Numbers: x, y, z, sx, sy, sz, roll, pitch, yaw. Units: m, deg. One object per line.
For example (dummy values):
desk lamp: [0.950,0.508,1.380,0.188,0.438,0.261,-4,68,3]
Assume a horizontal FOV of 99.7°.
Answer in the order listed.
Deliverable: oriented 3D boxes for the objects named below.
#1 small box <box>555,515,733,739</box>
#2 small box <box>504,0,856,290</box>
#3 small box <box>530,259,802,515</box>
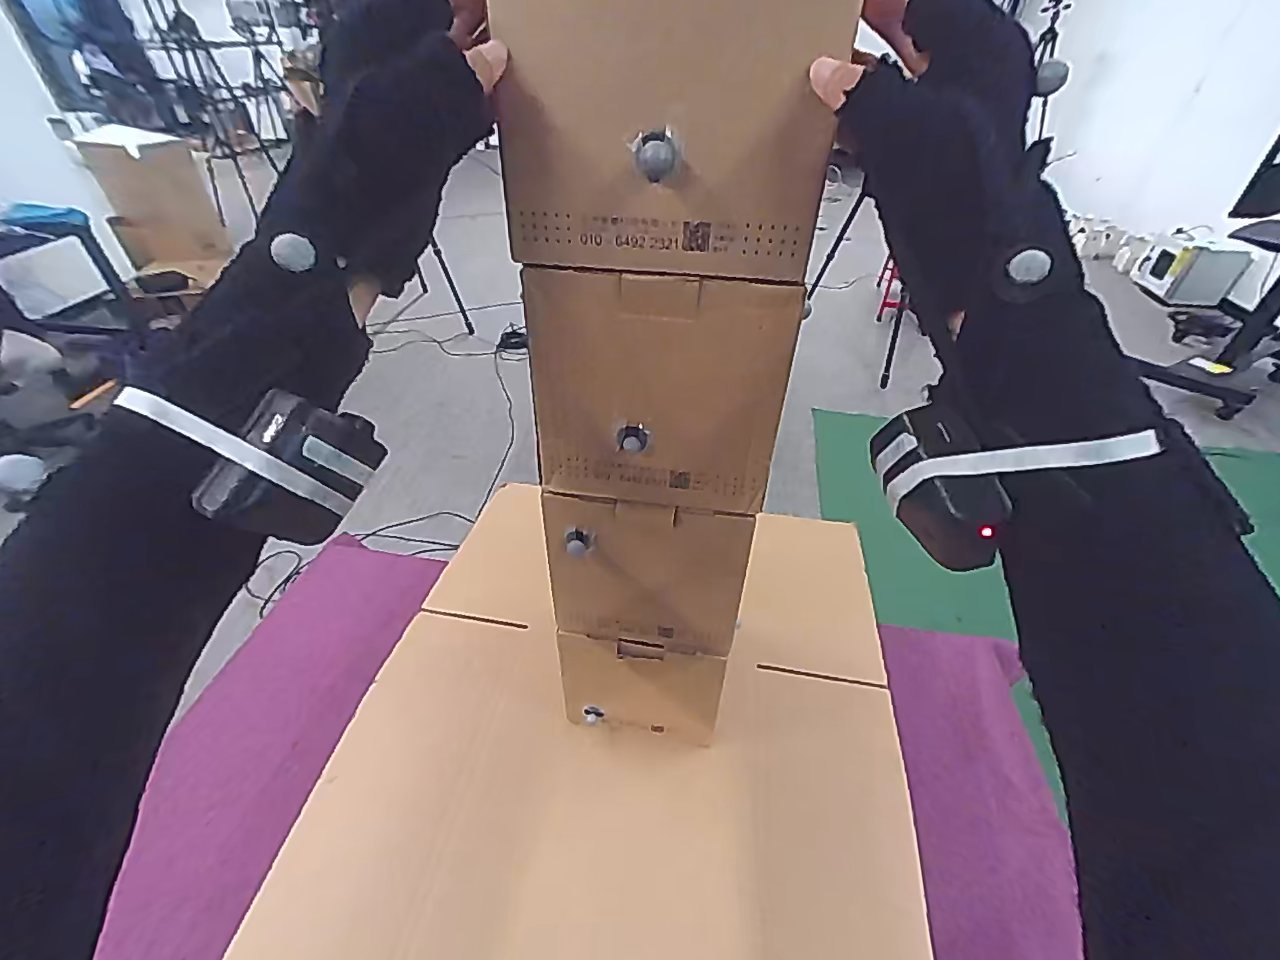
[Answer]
small box: [0.012,0.167,0.623,0.168,0.176,0.179,7,37,7]
small box: [0.022,-0.230,0.330,0.168,0.176,0.179,6,37,5]
small box: [0.021,-0.097,0.429,0.168,0.176,0.179,6,37,5]
